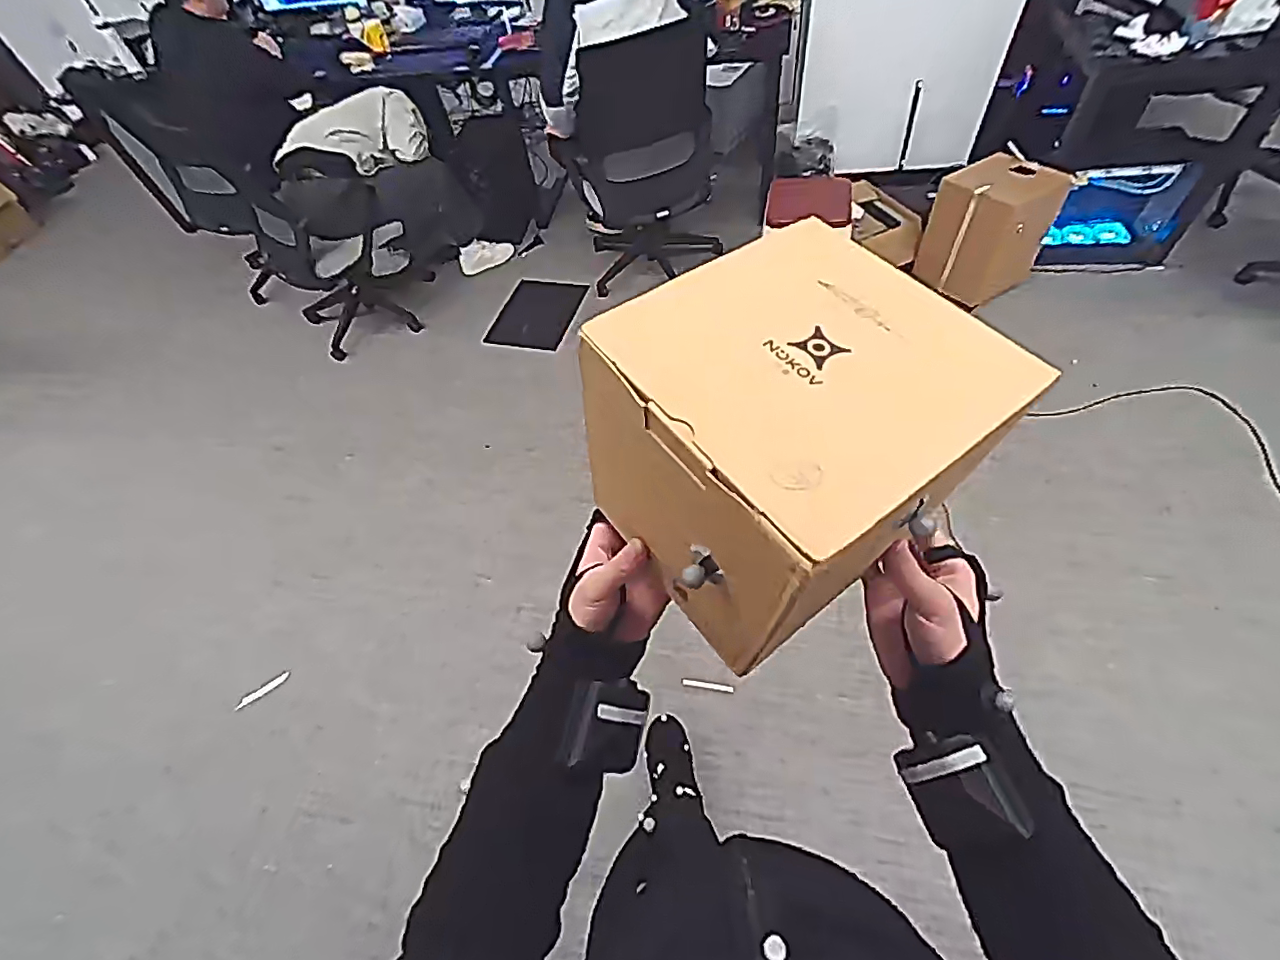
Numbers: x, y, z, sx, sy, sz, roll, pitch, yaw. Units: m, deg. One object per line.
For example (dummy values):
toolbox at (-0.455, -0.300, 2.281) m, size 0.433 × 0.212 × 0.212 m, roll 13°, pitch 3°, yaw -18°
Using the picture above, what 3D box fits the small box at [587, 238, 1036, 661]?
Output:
small box at (0.085, -0.013, 0.347) m, size 0.179 × 0.176 × 0.168 m, roll -31°, pitch 64°, yaw -21°
